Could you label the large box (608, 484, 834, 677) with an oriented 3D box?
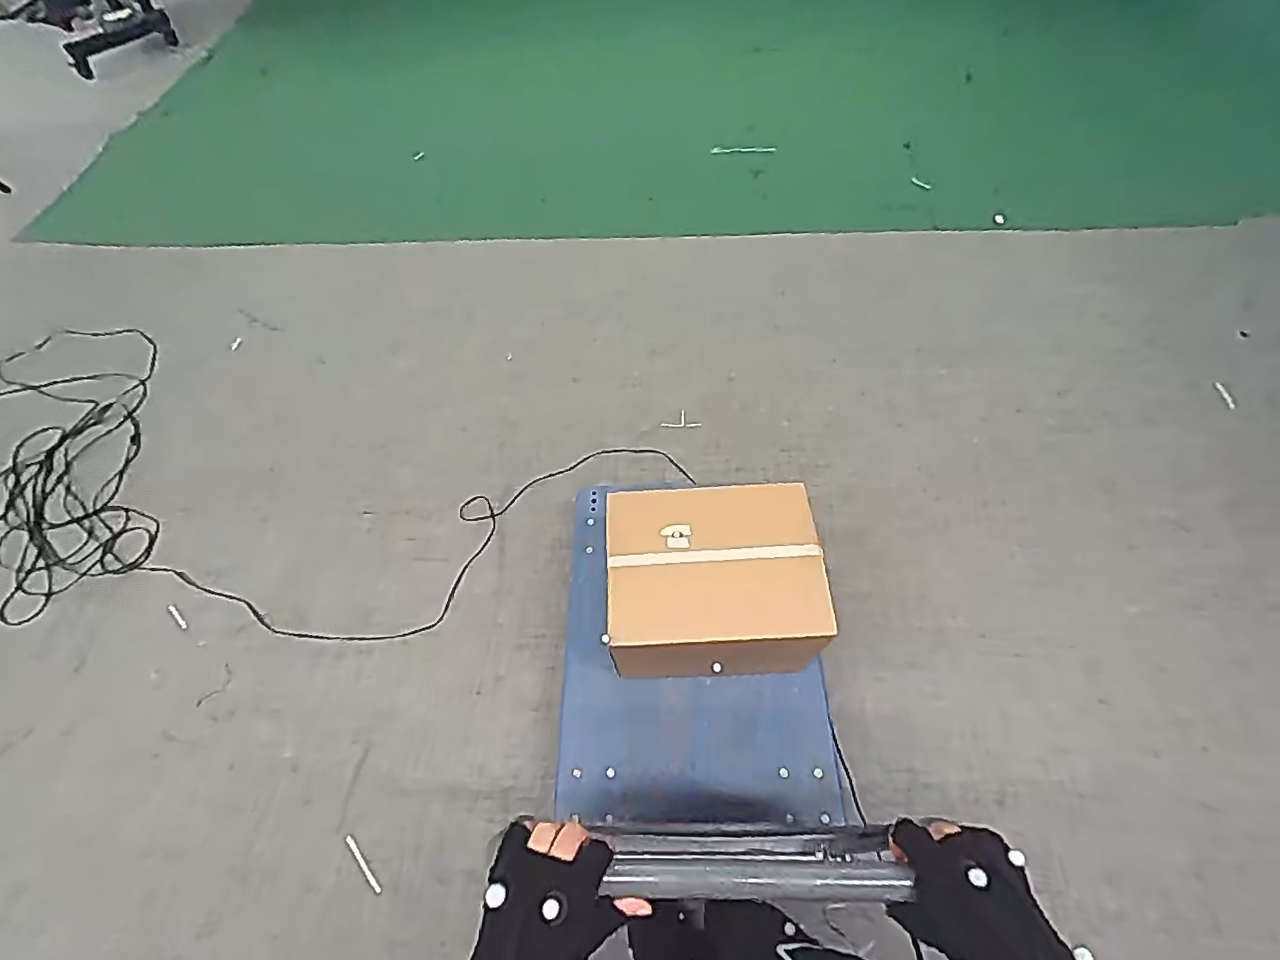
[{"bbox_3d":[0.149,0.227,1.160,0.408,0.320,0.320,-3,58,1],"label":"large box"}]
